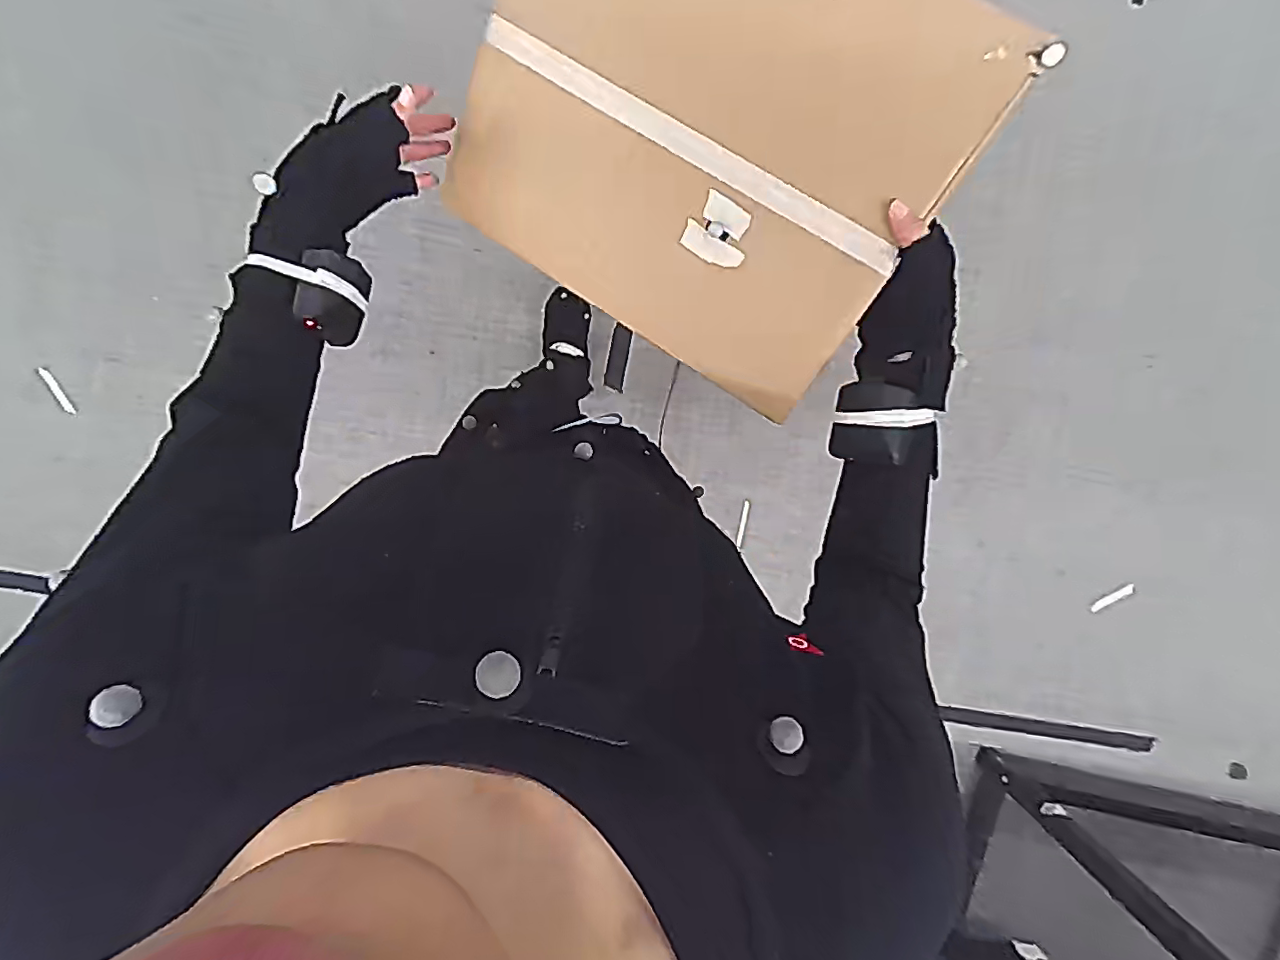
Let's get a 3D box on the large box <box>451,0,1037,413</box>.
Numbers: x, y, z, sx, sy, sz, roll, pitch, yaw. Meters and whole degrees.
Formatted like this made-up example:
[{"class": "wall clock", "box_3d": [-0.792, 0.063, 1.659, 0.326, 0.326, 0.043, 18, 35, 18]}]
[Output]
[{"class": "large box", "box_3d": [0.086, -0.333, 0.586, 0.408, 0.320, 0.320, 33, 119, 5]}]
